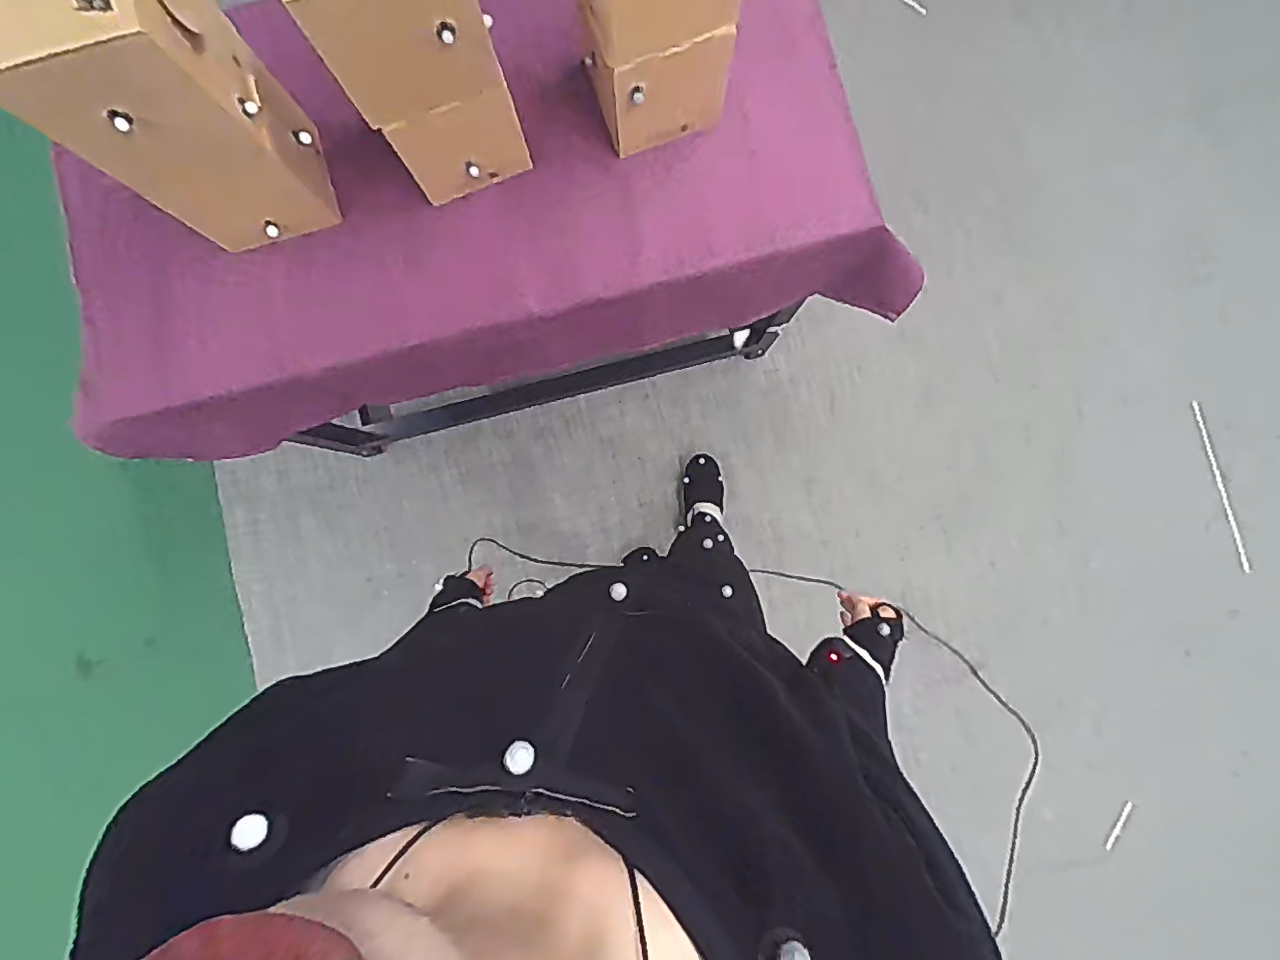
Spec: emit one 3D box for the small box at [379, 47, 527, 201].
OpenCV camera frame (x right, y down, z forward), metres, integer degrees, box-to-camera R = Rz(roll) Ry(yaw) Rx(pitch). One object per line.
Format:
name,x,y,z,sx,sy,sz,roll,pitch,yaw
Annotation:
small box,-0.275,-0.537,0.756,0.168,0.176,0.179,-21,87,0

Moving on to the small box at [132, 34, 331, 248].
small box,-0.563,-0.455,0.752,0.179,0.176,0.168,-16,86,-1

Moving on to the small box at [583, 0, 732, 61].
small box,0.008,-0.618,0.595,0.179,0.176,0.168,-20,86,-1

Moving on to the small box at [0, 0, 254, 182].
small box,-0.563,-0.465,0.589,0.179,0.176,0.168,-16,87,0

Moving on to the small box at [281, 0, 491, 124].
small box,-0.278,-0.542,0.593,0.179,0.176,0.168,-19,86,0
